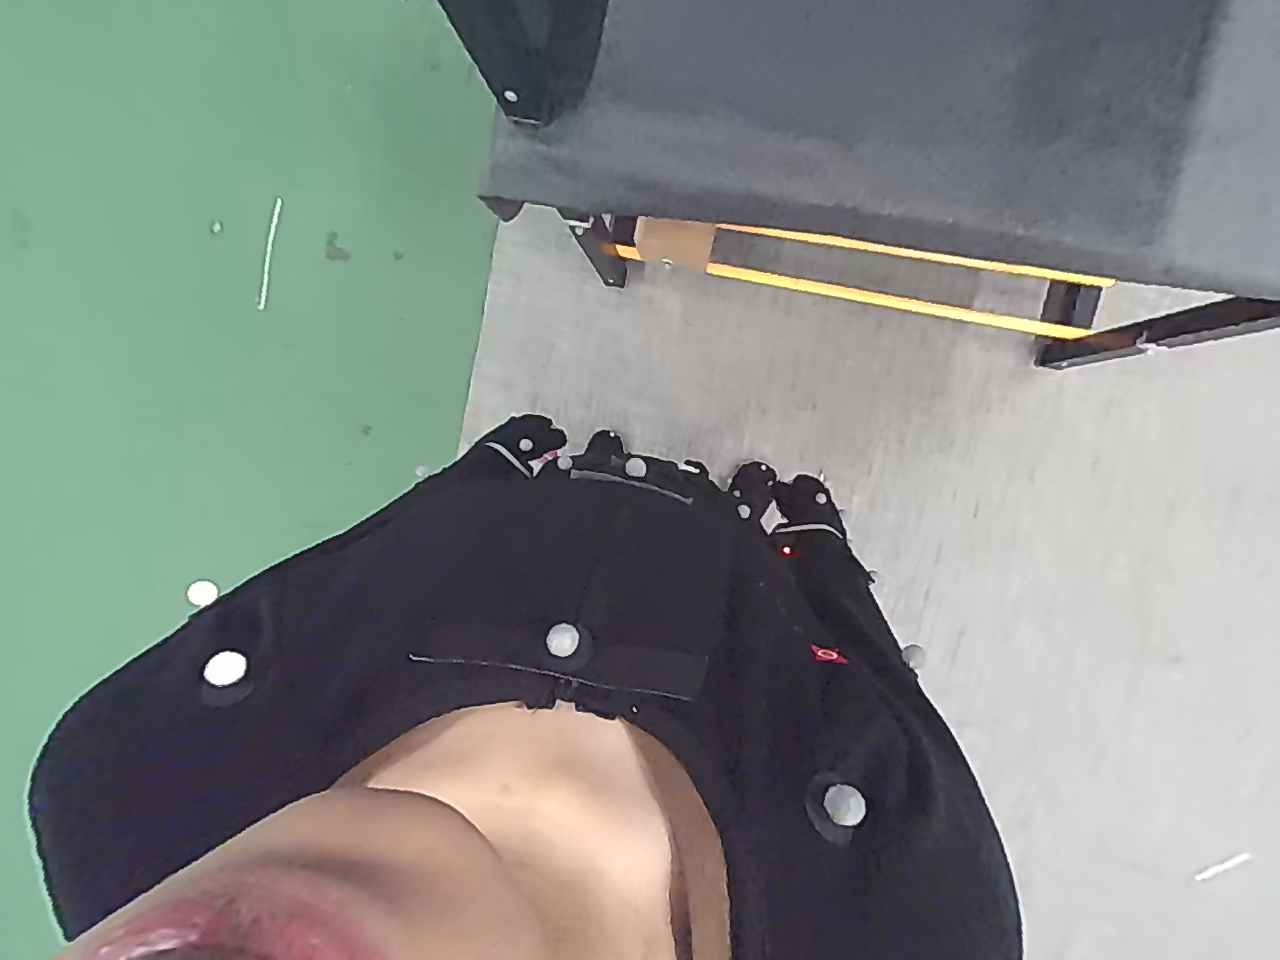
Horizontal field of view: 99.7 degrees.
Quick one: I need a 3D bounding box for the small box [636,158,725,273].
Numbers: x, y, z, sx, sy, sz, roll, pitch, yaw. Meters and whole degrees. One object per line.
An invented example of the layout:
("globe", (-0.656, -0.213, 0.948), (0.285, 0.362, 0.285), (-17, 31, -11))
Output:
("small box", (0.092, -0.596, 1.237), (0.168, 0.176, 0.179), (11, 97, 4))
